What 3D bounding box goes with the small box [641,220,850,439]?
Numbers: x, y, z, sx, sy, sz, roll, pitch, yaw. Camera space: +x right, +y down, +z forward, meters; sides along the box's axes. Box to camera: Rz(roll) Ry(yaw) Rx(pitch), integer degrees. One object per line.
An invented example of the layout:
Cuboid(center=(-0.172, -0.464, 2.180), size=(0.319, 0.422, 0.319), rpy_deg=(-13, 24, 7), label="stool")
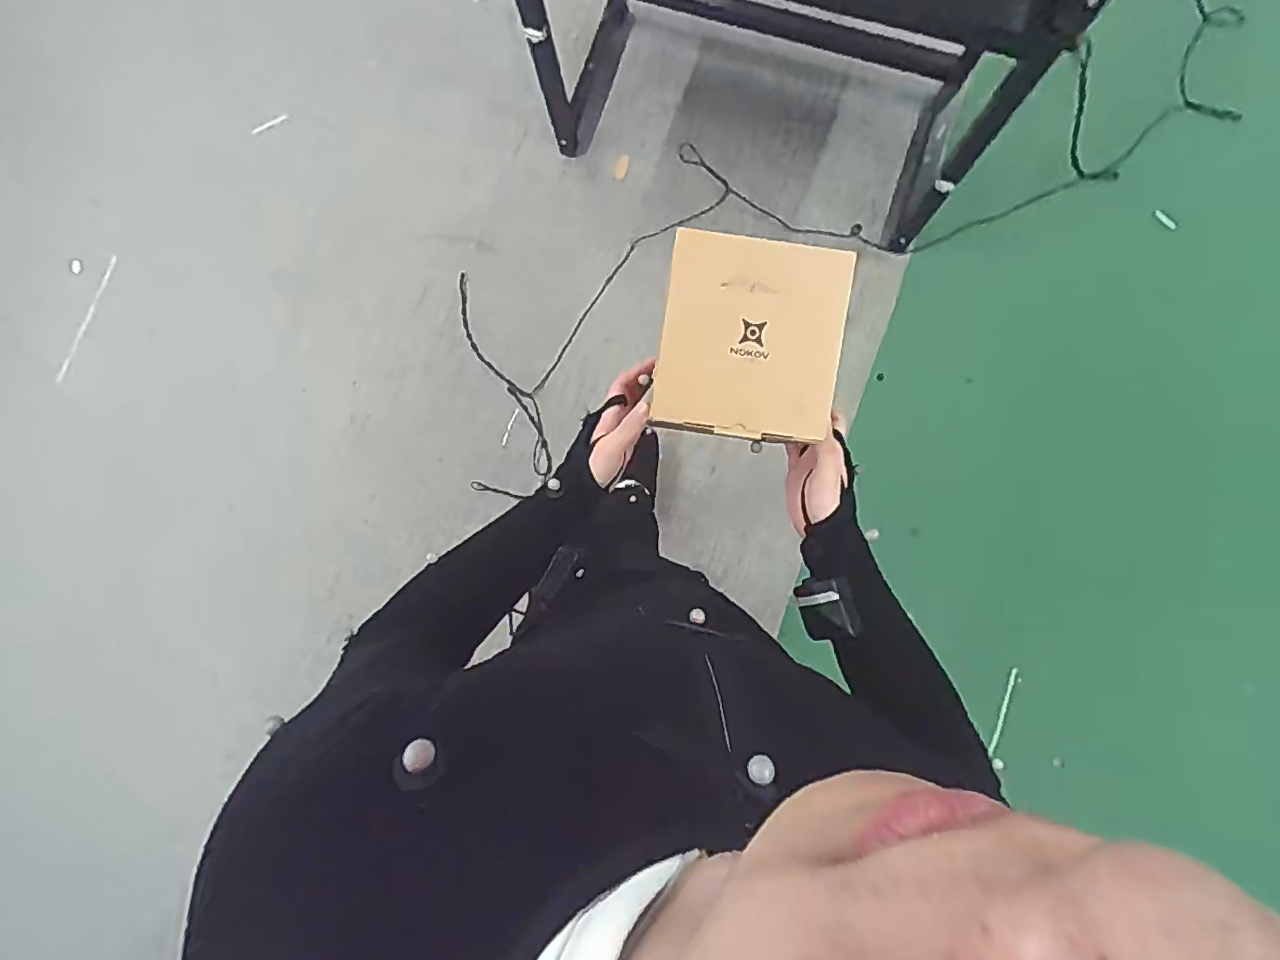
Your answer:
Cuboid(center=(0.095, -0.139, 0.564), size=(0.168, 0.176, 0.179), rpy_deg=(8, 94, -1), label="small box")
